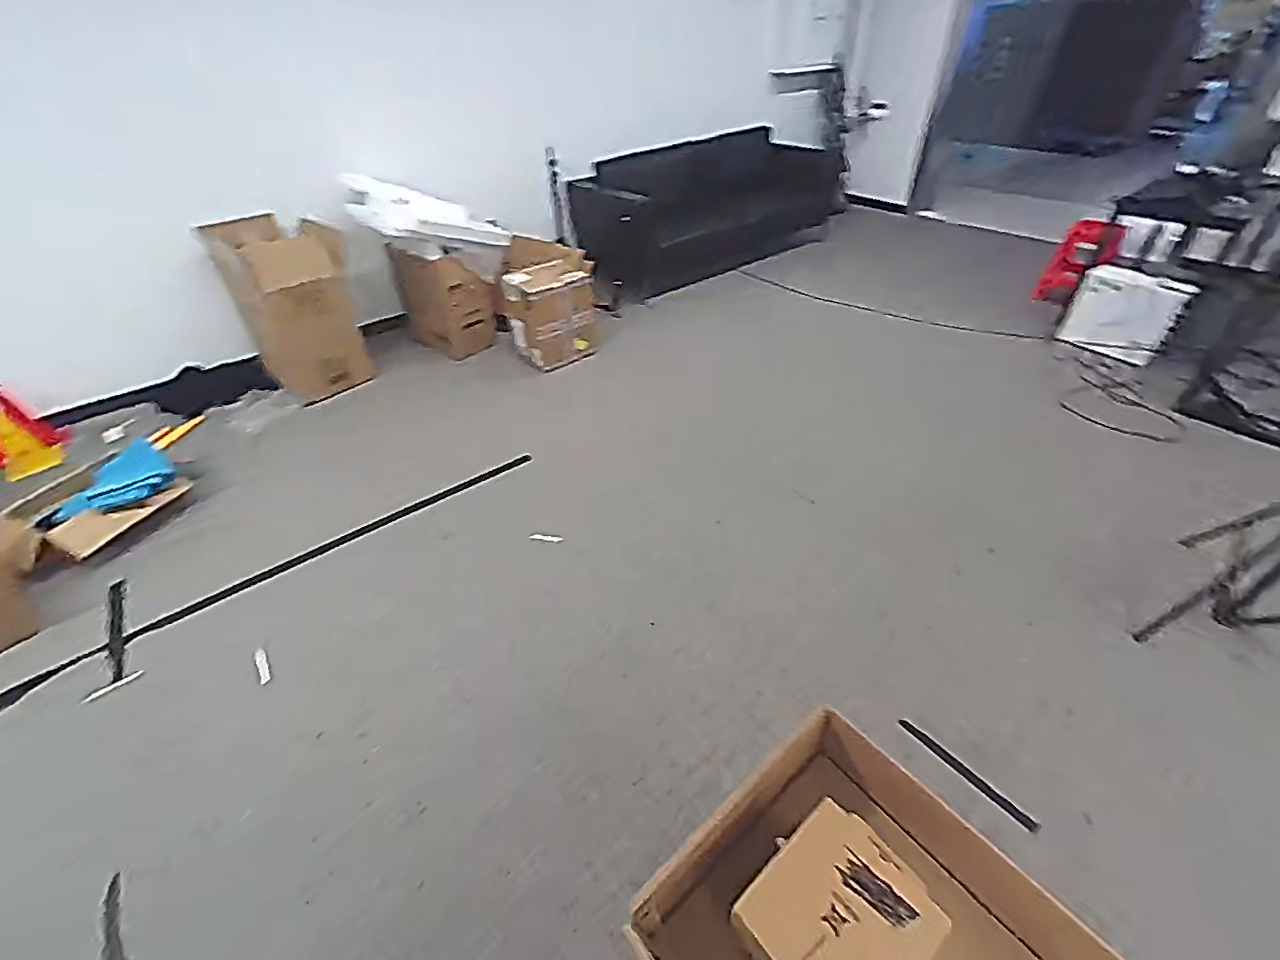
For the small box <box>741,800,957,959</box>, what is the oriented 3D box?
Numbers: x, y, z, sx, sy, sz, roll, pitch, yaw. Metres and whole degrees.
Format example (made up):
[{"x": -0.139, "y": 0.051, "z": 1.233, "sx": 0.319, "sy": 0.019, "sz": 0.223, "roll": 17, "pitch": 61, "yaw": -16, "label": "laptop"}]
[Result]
[{"x": 0.236, "y": 0.539, "z": 0.653, "sx": 0.179, "sy": 0.176, "sz": 0.168, "roll": -33, "pitch": 48, "yaw": -23, "label": "small box"}]
